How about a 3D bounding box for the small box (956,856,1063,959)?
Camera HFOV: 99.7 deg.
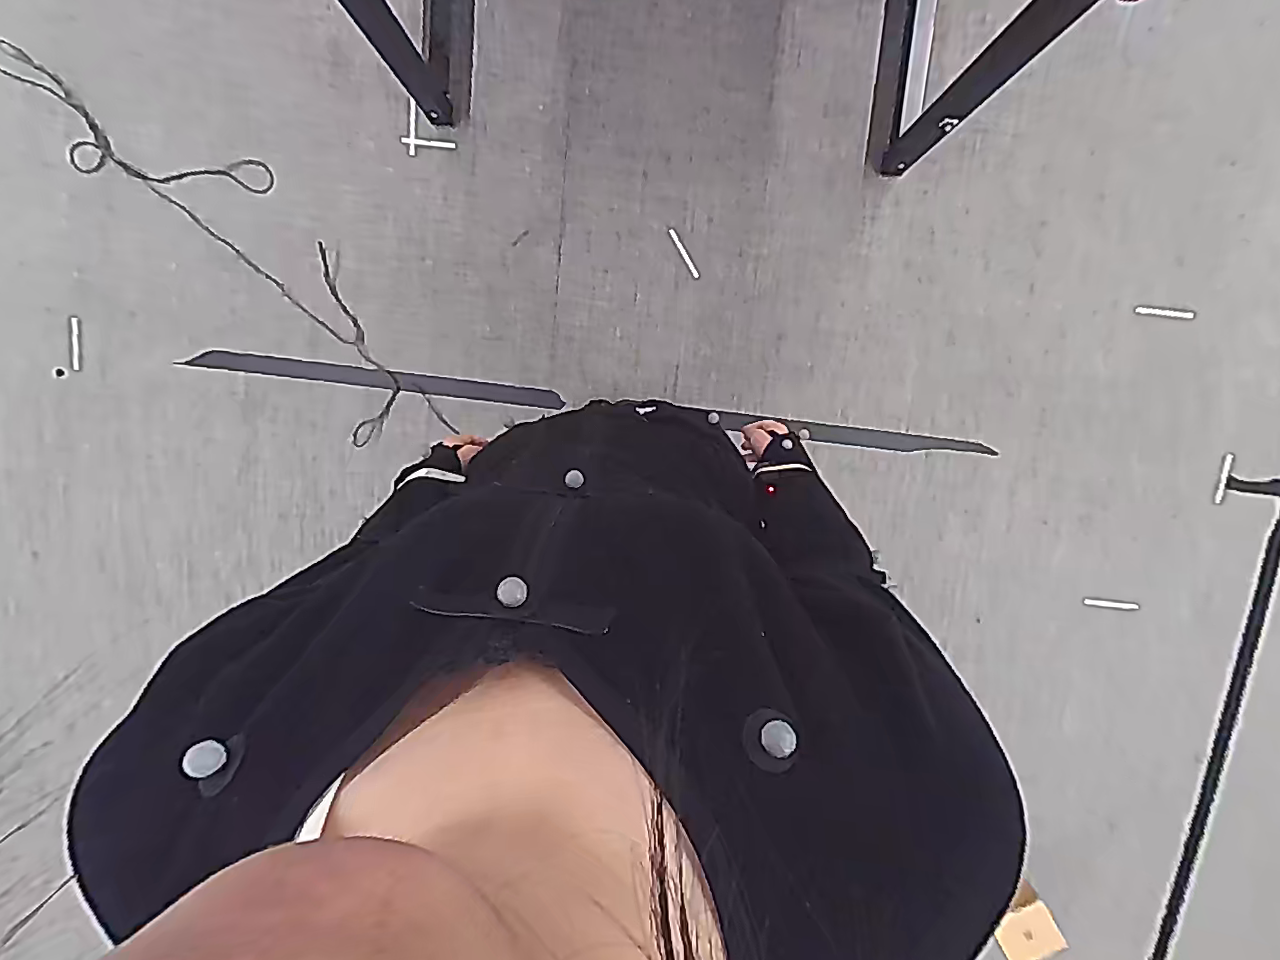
[{"bbox_3d":[1.080,1.259,1.596,0.168,0.176,0.179,-31,98,5],"label":"small box"}]
